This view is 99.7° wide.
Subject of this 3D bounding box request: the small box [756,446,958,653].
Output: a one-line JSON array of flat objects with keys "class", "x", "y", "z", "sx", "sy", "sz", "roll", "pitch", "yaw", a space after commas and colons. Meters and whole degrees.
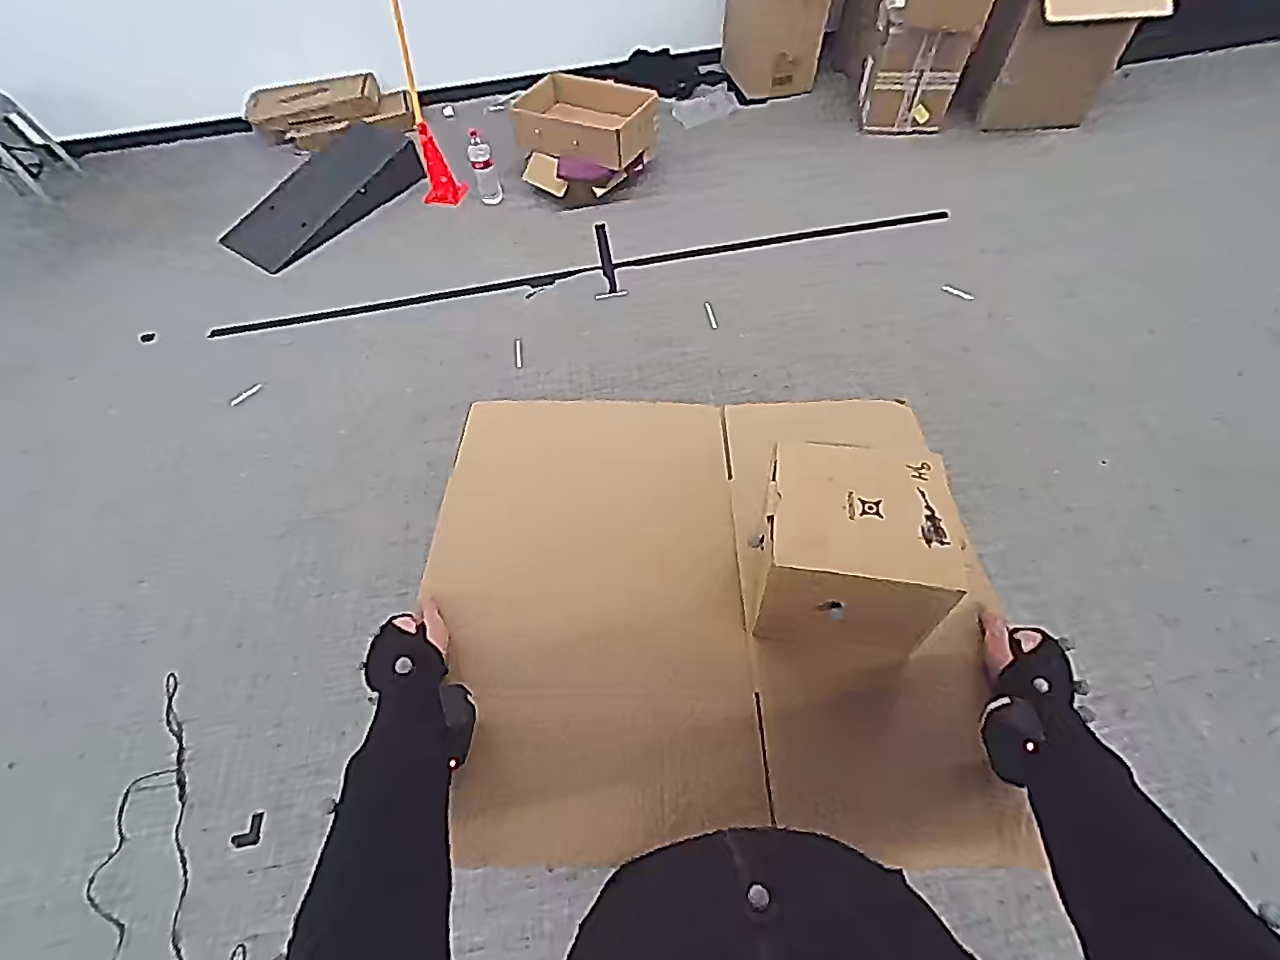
[{"class": "small box", "x": 0.229, "y": 0.082, "z": 0.617, "sx": 0.179, "sy": 0.176, "sz": 0.168, "roll": 5, "pitch": 53, "yaw": 10}]
